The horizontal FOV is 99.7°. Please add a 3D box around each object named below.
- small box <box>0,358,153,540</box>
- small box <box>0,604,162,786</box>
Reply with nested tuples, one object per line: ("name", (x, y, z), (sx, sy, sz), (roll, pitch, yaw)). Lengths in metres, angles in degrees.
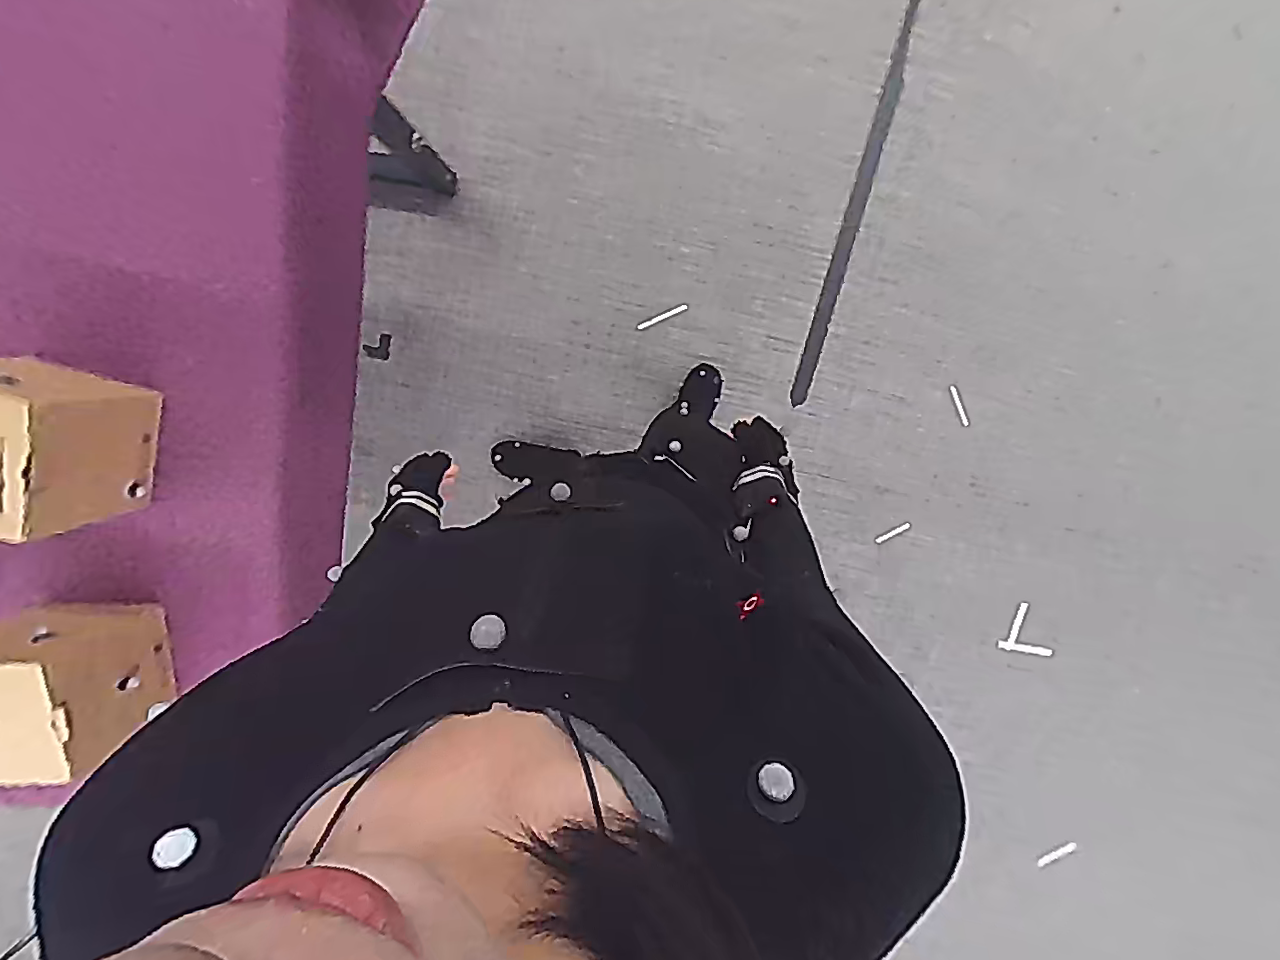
("small box", (-0.748, -0.049, 0.652), (0.179, 0.176, 0.168), (16, 100, -4))
("small box", (-0.784, 0.273, 0.715), (0.179, 0.176, 0.168), (0, 101, -3))
